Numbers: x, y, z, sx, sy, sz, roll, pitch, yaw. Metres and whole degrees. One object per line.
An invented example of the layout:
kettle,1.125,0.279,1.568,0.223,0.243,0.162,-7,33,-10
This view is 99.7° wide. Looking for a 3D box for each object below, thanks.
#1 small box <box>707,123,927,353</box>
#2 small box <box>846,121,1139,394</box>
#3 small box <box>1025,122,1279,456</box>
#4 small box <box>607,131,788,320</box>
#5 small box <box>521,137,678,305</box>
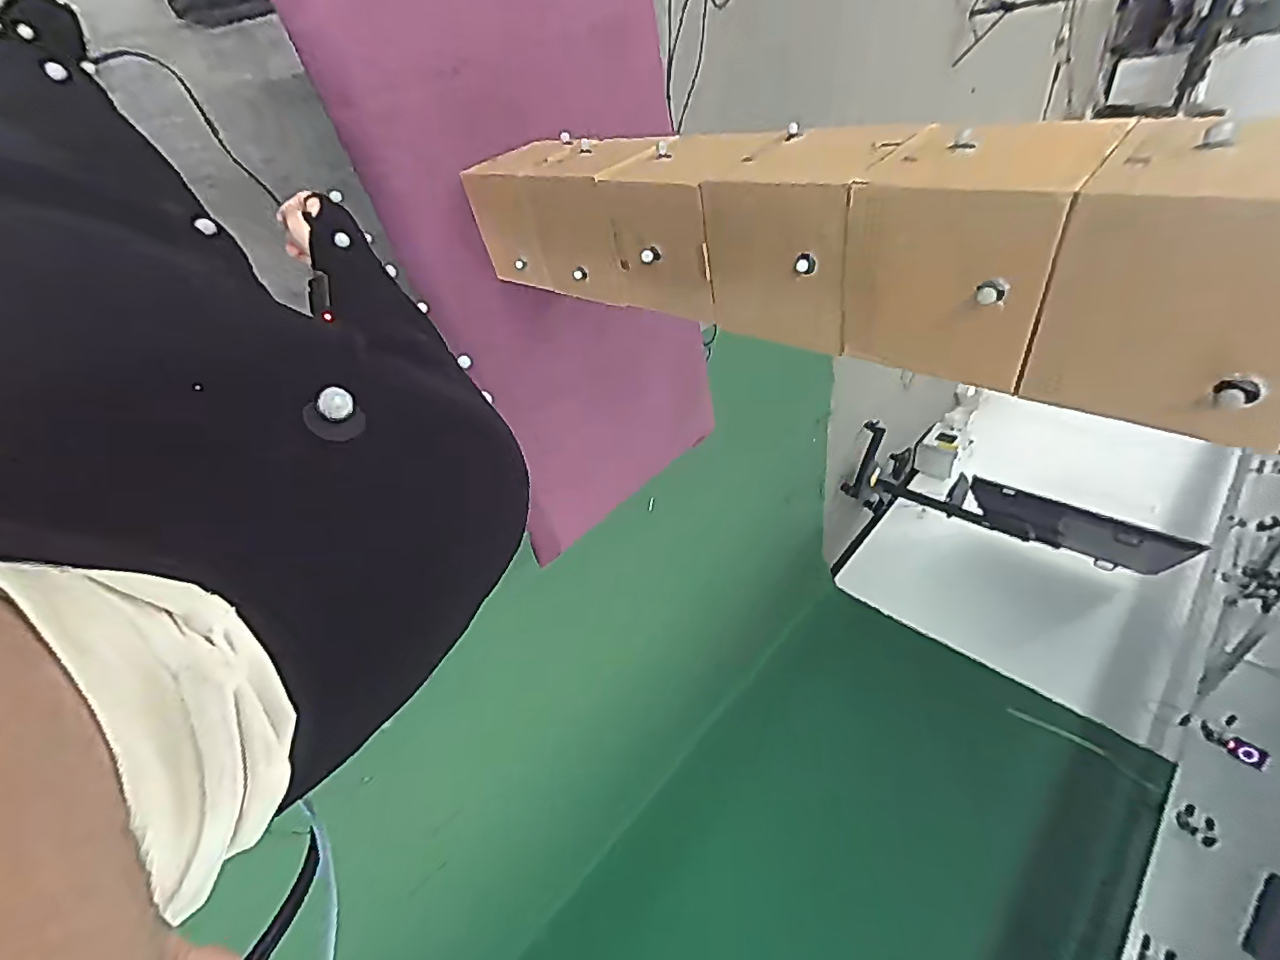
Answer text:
small box,0.190,-0.271,0.602,0.168,0.176,0.179,-42,139,-26
small box,0.308,-0.213,0.508,0.168,0.176,0.179,-42,137,-26
small box,0.426,-0.153,0.410,0.168,0.176,0.179,-41,137,-27
small box,0.075,-0.332,0.703,0.179,0.176,0.168,-41,138,-26
small box,-0.044,-0.386,0.799,0.168,0.176,0.179,-41,137,-27
